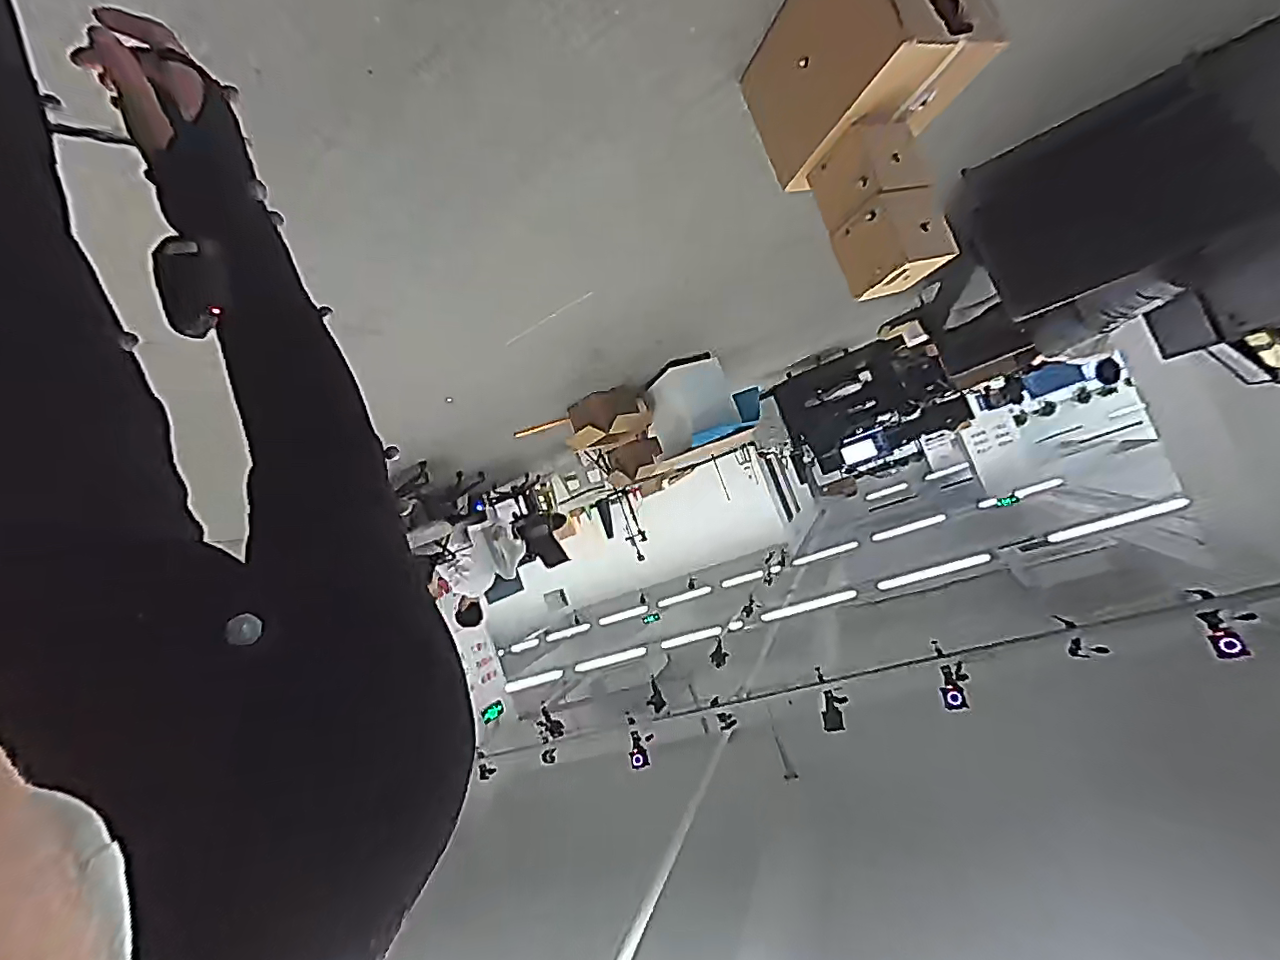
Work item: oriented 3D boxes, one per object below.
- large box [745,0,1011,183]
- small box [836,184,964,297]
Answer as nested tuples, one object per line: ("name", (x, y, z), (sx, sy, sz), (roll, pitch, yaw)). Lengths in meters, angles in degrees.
("large box", (0.501, -0.959, 1.224), (0.320, 0.320, 0.408), (-20, 175, -21))
("small box", (0.589, -0.551, 1.245), (0.179, 0.176, 0.168), (-19, 175, -23))
